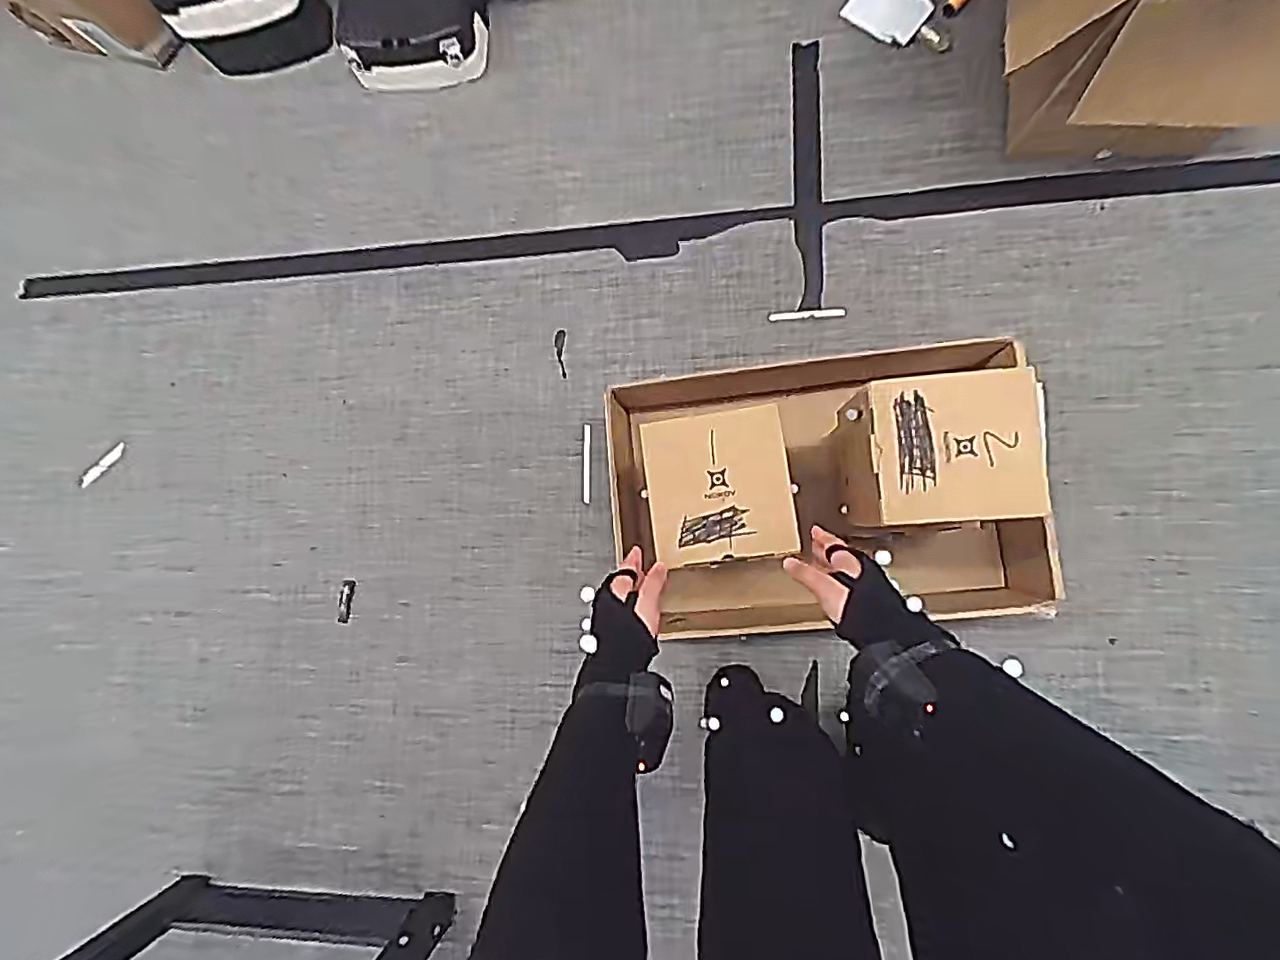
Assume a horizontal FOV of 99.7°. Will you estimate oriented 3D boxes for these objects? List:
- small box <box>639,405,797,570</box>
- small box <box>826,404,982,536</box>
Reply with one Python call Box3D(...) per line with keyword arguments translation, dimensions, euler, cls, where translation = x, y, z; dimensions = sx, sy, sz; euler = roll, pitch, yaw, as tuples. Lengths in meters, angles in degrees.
Box3D(translation=(0.098, 0.015, 0.702), dimensions=(0.168, 0.176, 0.179), euler=(-8, 83, 6), cls="small box")
Box3D(translation=(0.391, -0.007, 0.832), dimensions=(0.168, 0.176, 0.179), euler=(-6, 85, 9), cls="small box")
